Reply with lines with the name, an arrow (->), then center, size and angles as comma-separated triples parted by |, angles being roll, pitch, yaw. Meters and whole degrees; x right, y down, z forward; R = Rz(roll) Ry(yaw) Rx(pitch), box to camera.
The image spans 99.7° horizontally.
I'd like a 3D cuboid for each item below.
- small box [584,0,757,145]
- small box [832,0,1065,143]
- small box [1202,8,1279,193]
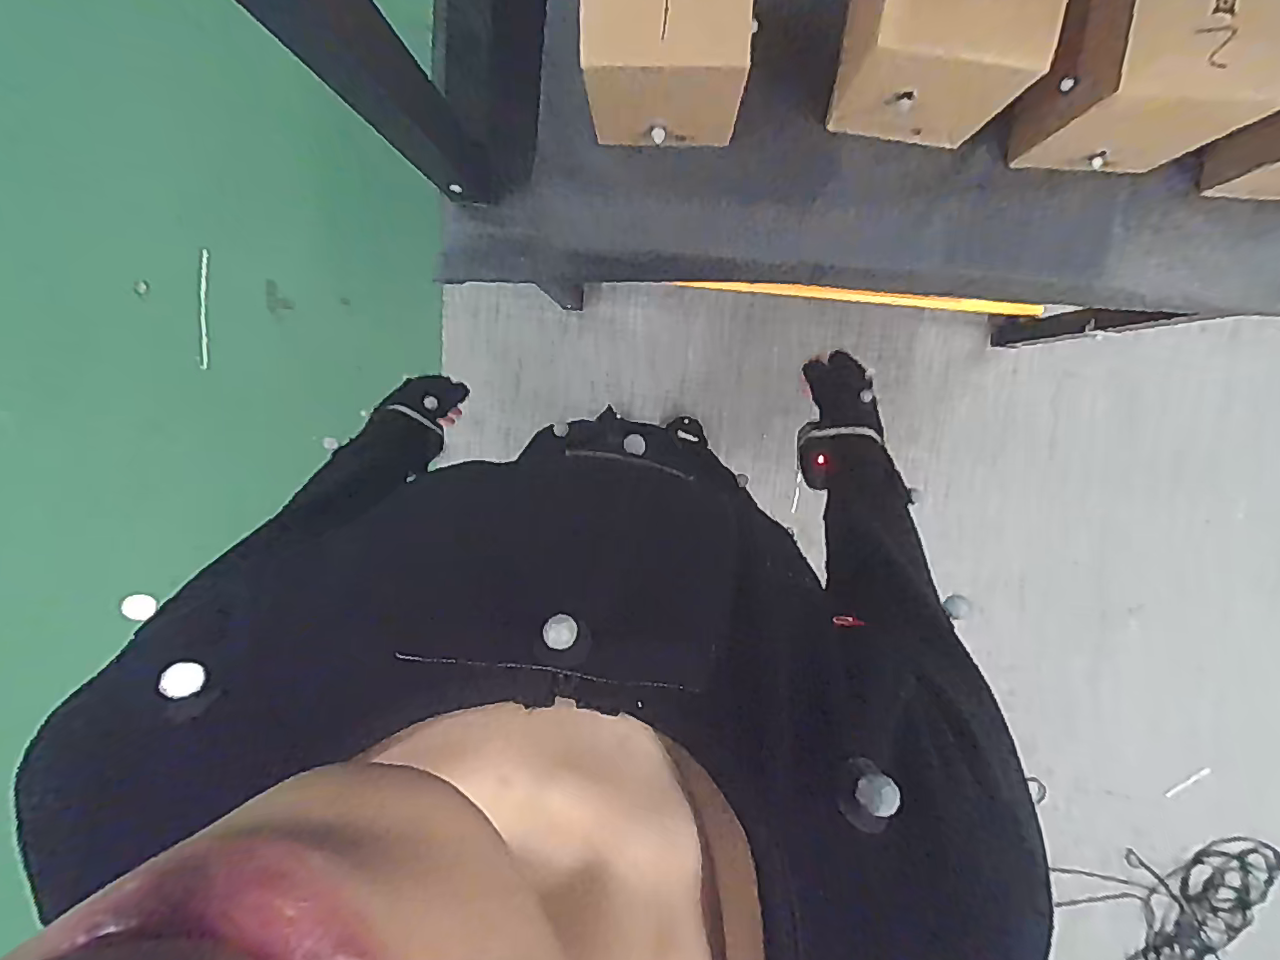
small box -> 0.032, -0.496, 0.585 | 0.168, 0.176, 0.179 | 2, 100, 2
small box -> 0.321, -0.494, 0.577 | 0.168, 0.176, 0.179 | 9, 99, 1
small box -> 0.762, -0.417, 0.567 | 0.168, 0.176, 0.179 | 4, 98, 2
